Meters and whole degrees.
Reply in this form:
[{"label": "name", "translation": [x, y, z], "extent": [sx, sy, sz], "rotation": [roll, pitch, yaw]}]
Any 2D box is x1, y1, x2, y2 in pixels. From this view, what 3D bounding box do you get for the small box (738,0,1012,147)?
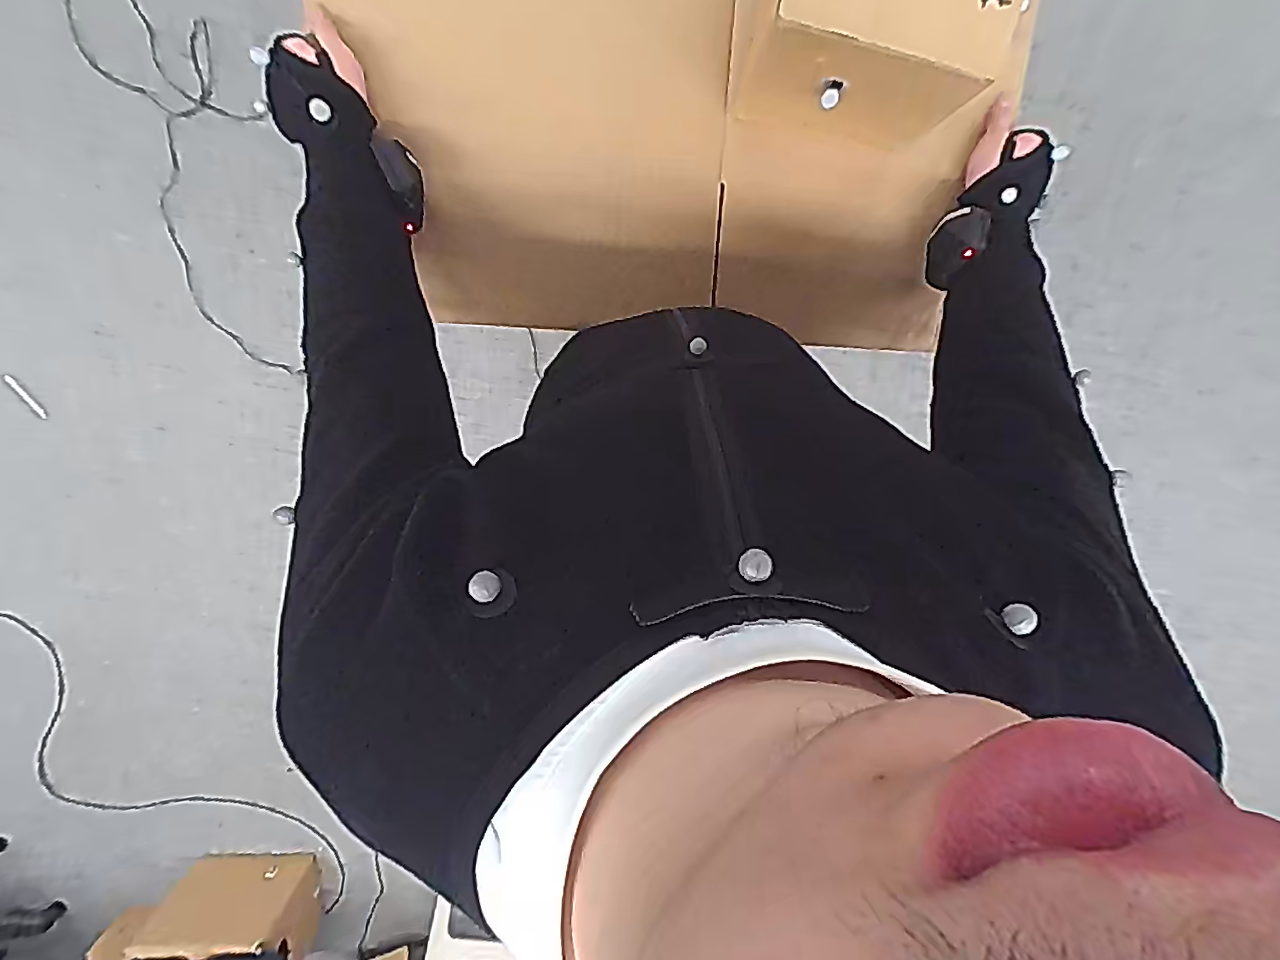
[{"label": "small box", "translation": [0.196, -0.418, 0.463], "extent": [0.179, 0.176, 0.168], "rotation": [13, 103, -3]}]
